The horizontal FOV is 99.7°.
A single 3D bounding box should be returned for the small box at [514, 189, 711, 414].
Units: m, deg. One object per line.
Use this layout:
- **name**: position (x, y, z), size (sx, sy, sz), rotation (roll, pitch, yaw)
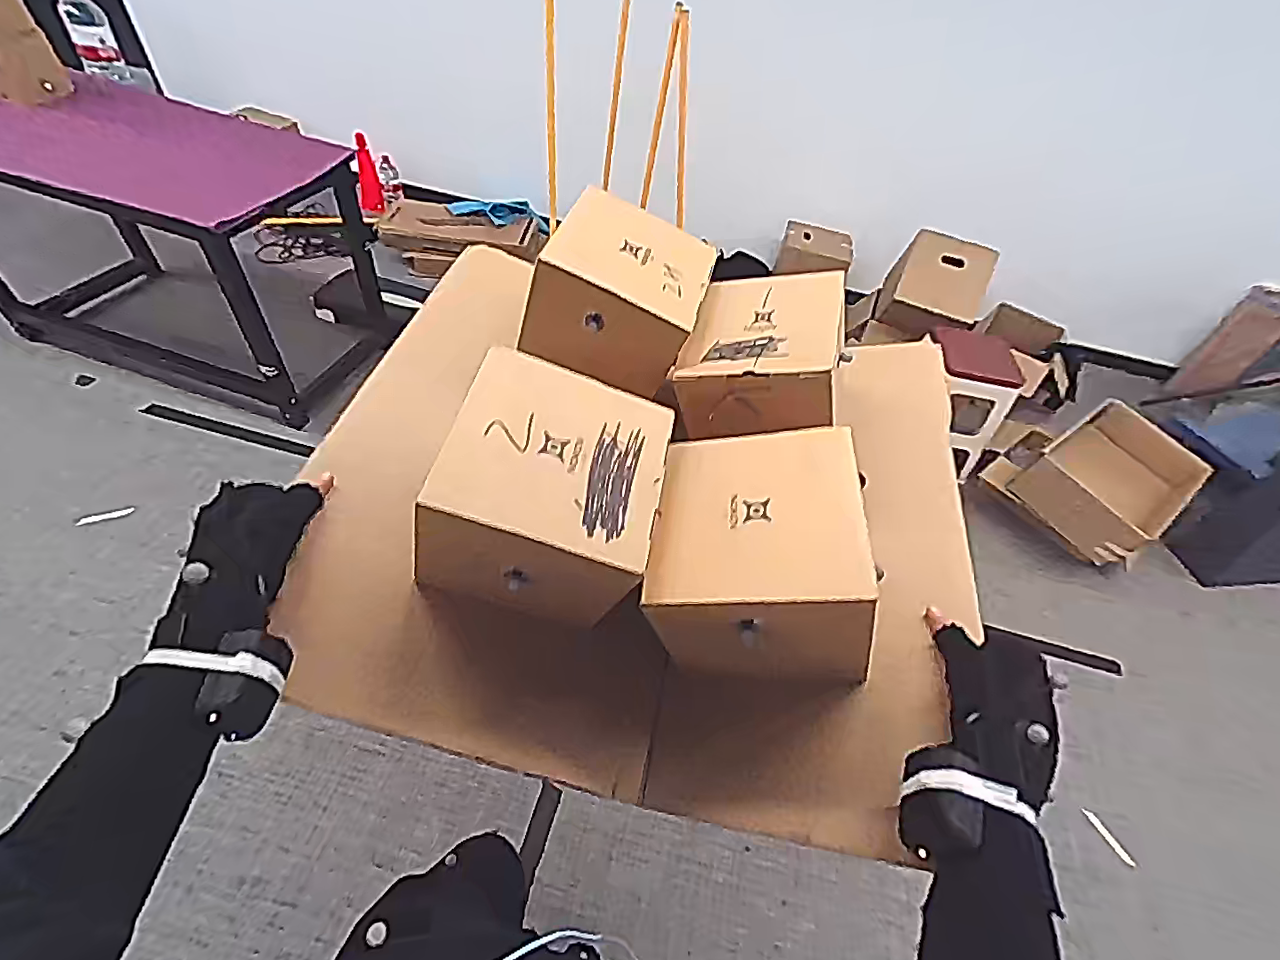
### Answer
- **small box**: position (-0.039, -0.211, 0.669), size (0.179, 0.176, 0.168), rotation (25, 54, -8)
